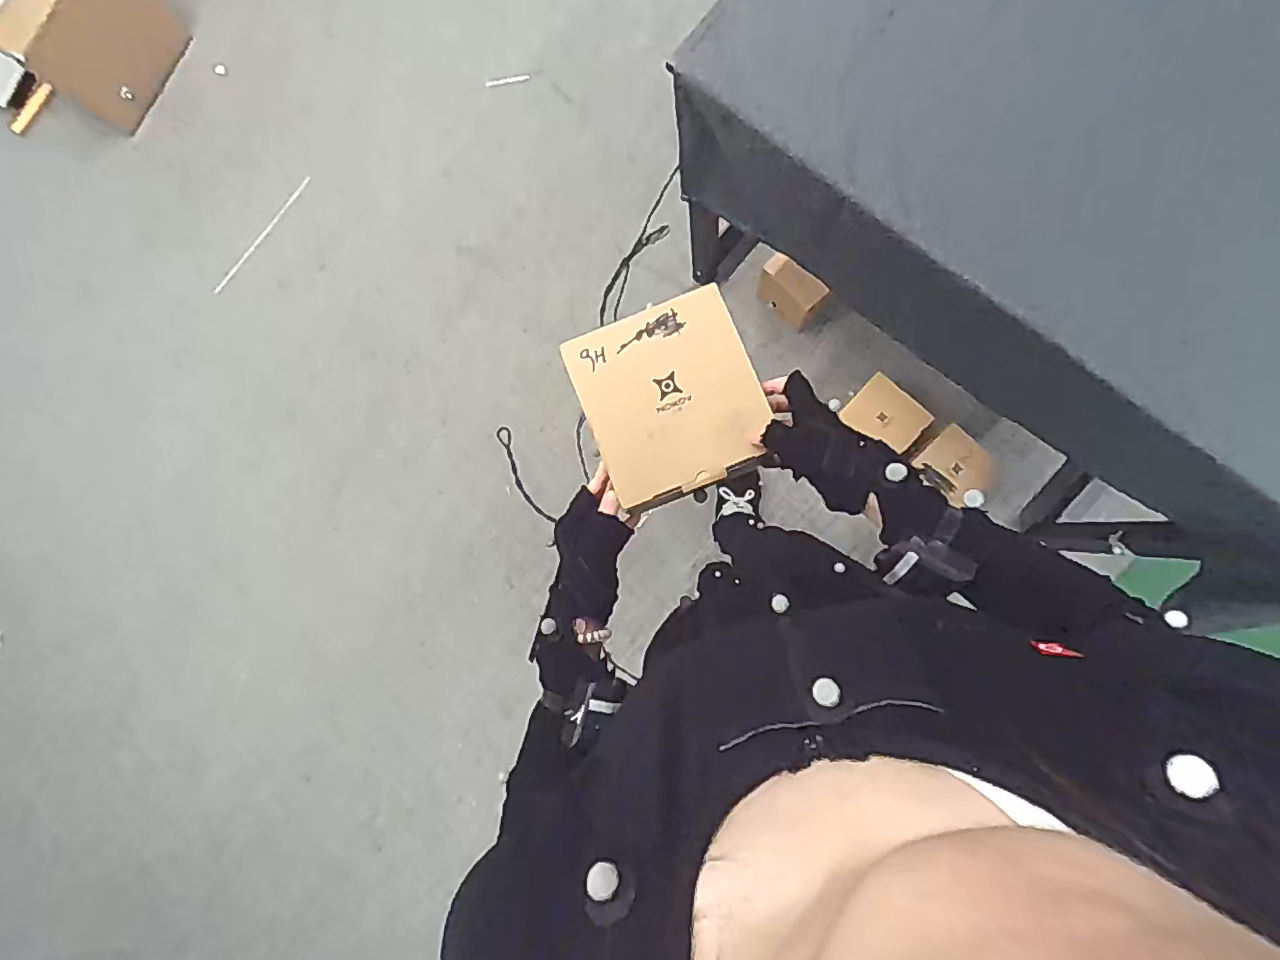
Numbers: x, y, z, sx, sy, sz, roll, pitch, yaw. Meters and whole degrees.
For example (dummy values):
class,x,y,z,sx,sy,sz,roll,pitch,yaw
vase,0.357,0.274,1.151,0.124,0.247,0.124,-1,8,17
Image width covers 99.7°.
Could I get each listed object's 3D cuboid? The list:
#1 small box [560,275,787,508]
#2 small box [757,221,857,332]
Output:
class,x,y,z,sx,sy,sz,roll,pitch,yaw
small box,0.033,-0.078,0.577,0.168,0.176,0.179,-22,85,-1
small box,0.428,-0.527,1.422,0.179,0.176,0.168,-41,82,1
